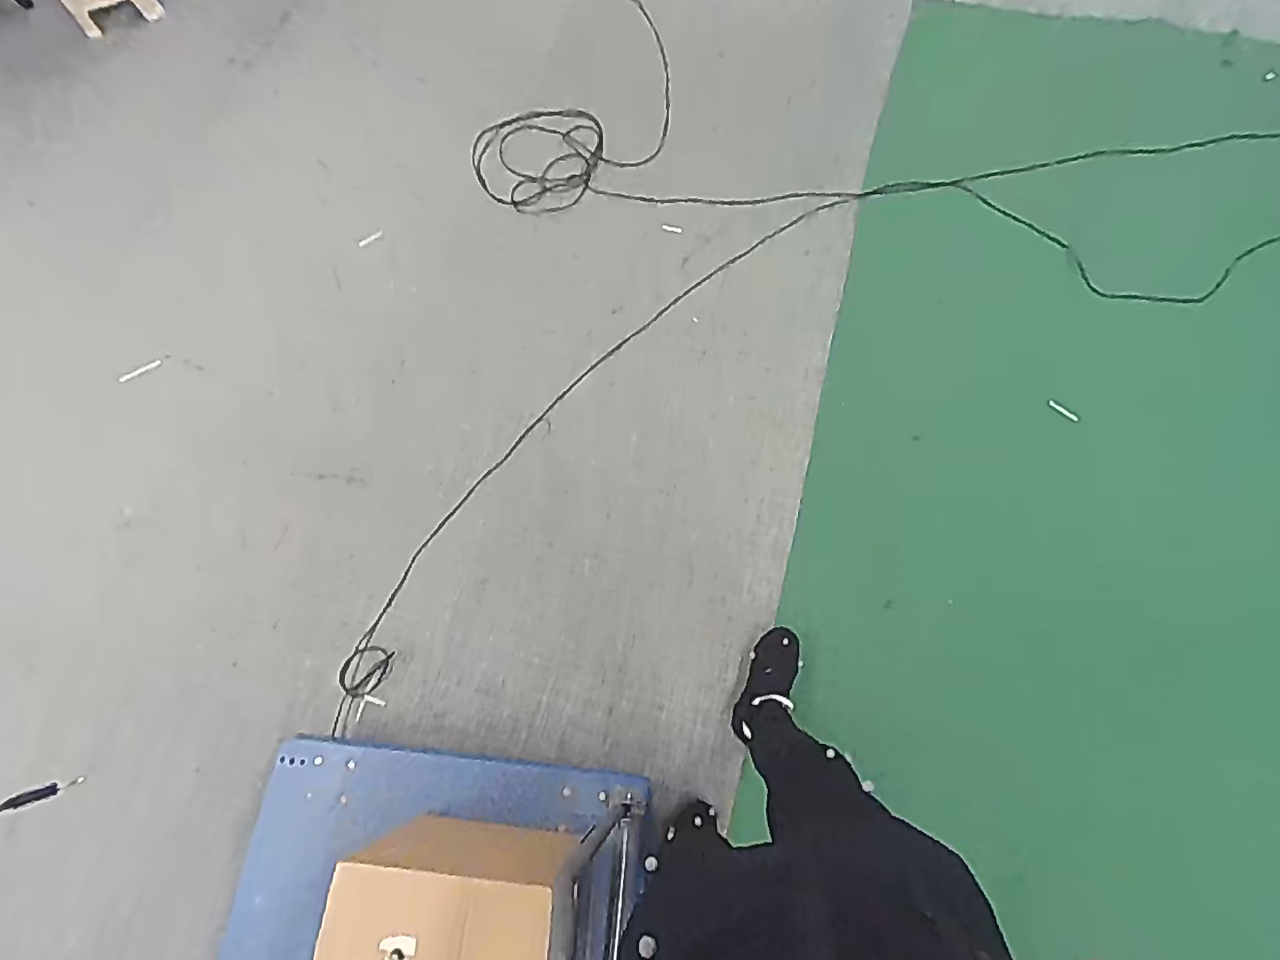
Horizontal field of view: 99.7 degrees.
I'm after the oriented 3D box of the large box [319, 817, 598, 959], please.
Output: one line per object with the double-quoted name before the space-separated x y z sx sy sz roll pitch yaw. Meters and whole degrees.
"large box" -0.303 0.839 0.977 0.408 0.320 0.320 3 71 6
